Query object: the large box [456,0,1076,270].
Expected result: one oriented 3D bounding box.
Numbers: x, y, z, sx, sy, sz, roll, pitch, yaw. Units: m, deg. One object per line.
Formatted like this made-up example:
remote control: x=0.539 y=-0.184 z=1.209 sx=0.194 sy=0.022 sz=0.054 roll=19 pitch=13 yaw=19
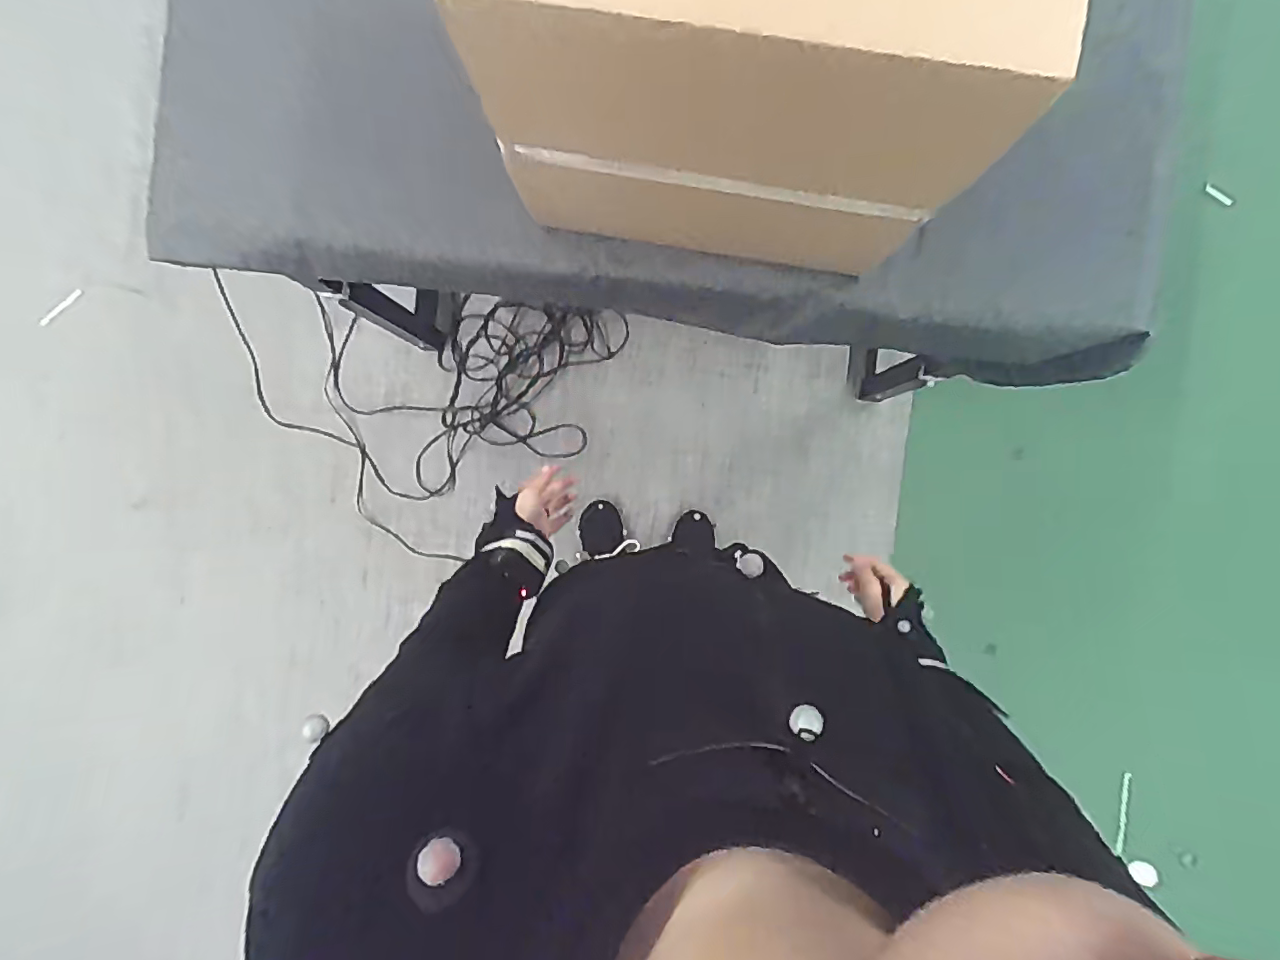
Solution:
large box: x=0.097 y=-0.421 z=0.492 sx=0.408 sy=0.320 sz=0.320 roll=8 pitch=89 yaw=1
